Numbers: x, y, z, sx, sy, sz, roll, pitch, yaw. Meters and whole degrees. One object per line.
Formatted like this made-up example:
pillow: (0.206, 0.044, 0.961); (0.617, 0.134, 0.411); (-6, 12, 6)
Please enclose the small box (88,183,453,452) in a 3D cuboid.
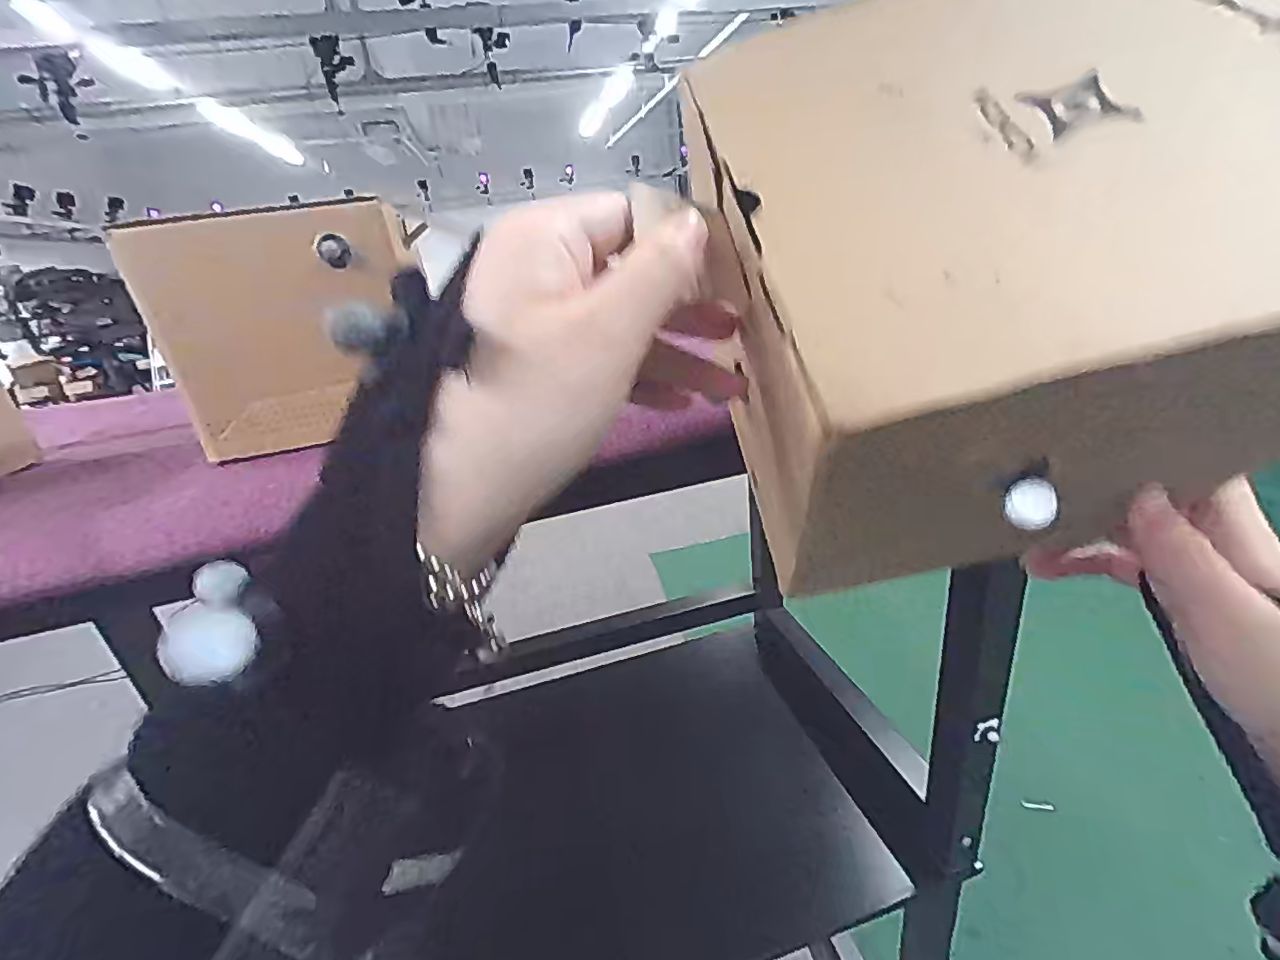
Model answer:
small box: (-0.273, -0.132, 0.454); (0.179, 0.176, 0.168); (-12, 22, -11)
